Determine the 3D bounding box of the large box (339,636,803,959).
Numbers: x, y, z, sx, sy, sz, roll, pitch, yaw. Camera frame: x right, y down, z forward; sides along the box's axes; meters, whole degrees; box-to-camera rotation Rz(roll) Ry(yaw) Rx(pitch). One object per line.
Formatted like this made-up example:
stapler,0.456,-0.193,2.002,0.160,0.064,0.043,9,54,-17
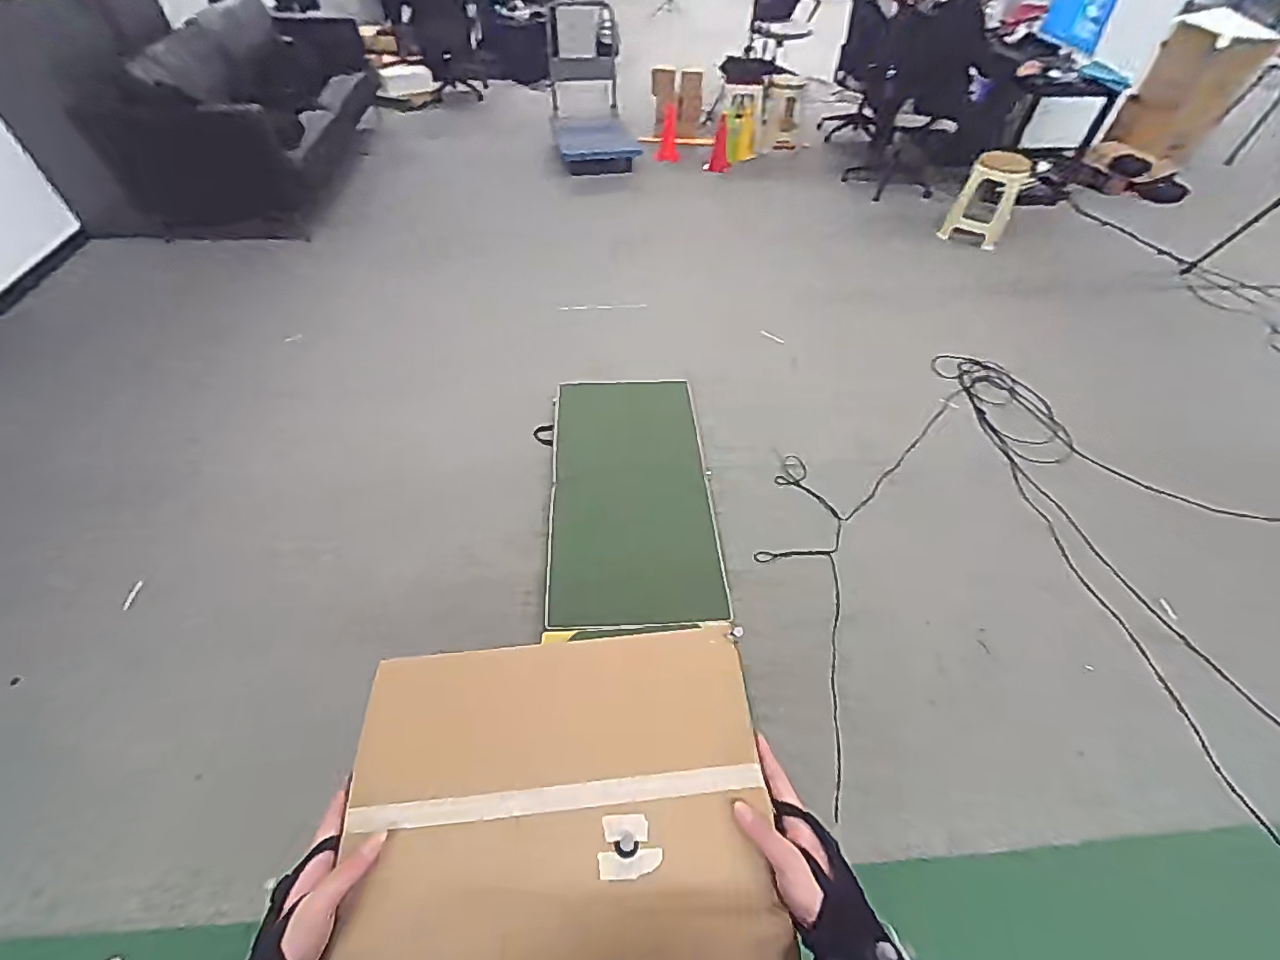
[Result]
large box,-0.069,0.415,0.650,0.408,0.320,0.320,-5,52,-2
